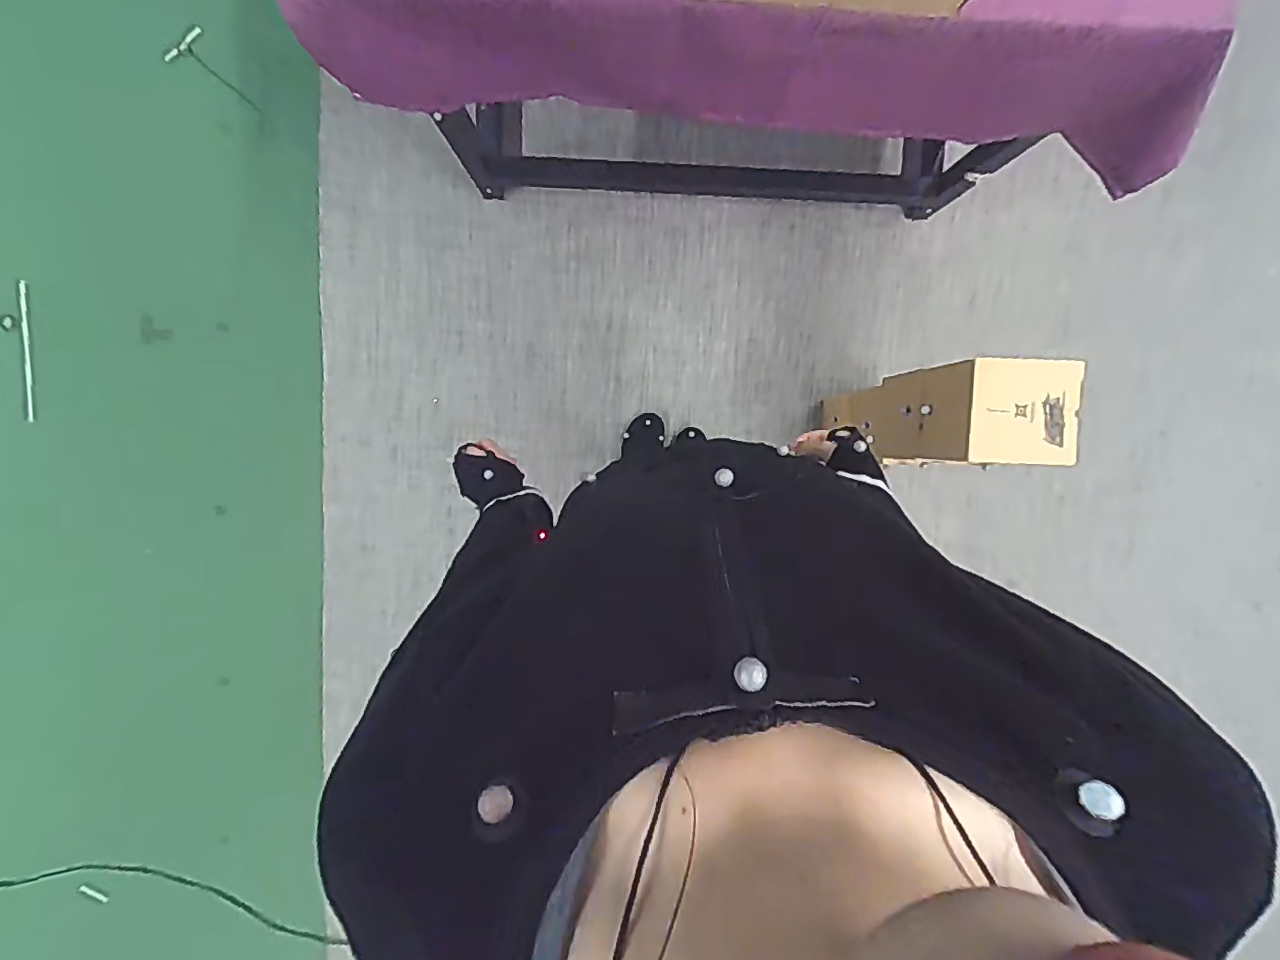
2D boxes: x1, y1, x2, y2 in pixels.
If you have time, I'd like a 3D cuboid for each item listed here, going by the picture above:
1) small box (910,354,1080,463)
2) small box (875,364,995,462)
[{"bbox_3d":[0.597,-0.119,0.928,0.179,0.176,0.168,2,94,-1],"label":"small box"},{"bbox_3d":[0.594,-0.131,1.092,0.168,0.176,0.179,4,95,-1],"label":"small box"}]
